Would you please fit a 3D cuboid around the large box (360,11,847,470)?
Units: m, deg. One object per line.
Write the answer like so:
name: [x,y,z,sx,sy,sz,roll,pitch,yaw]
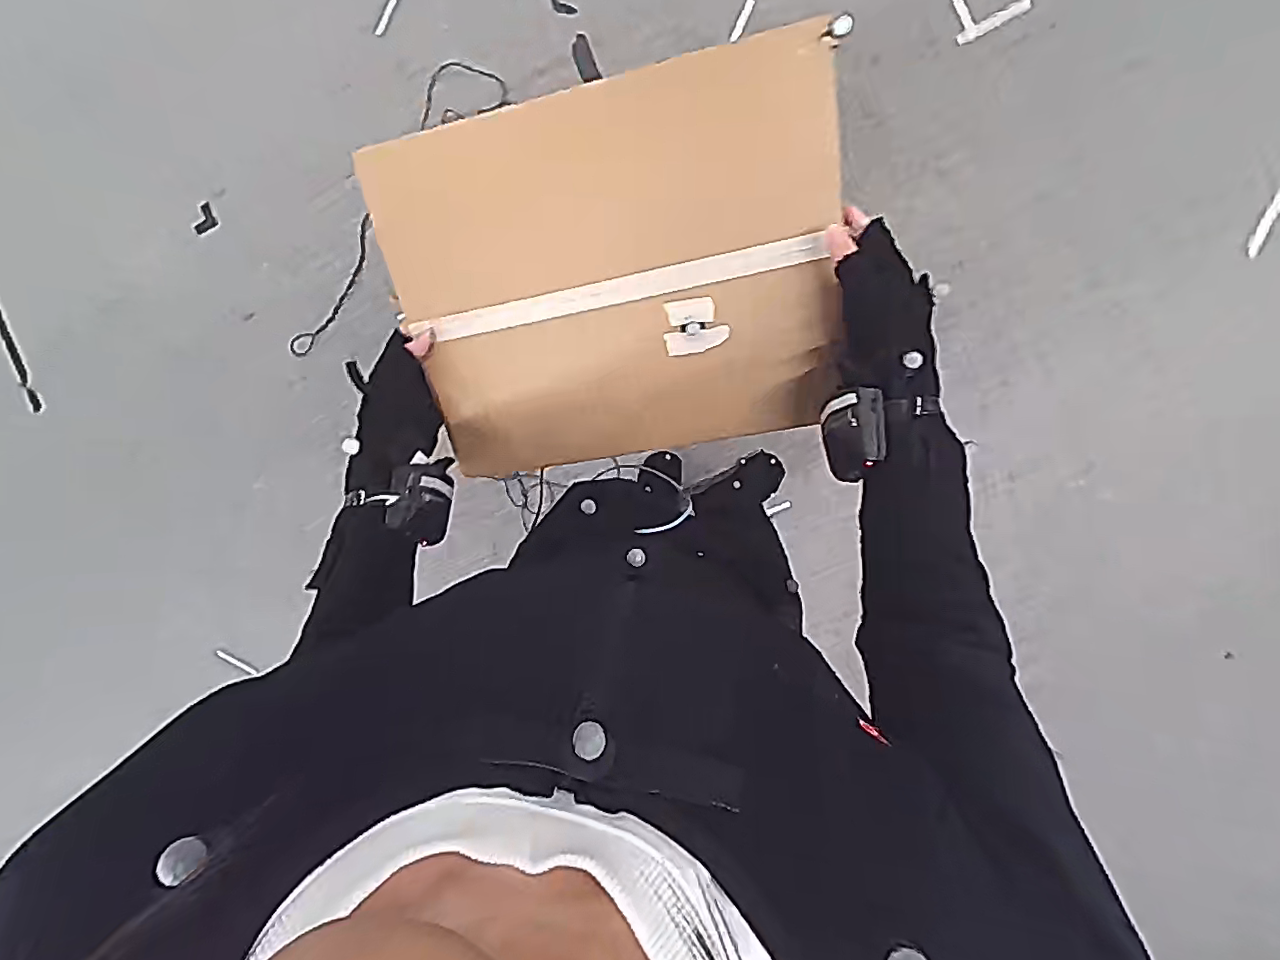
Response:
large box: [-0.016,-0.238,0.637,0.408,0.320,0.320,-10,110,10]
